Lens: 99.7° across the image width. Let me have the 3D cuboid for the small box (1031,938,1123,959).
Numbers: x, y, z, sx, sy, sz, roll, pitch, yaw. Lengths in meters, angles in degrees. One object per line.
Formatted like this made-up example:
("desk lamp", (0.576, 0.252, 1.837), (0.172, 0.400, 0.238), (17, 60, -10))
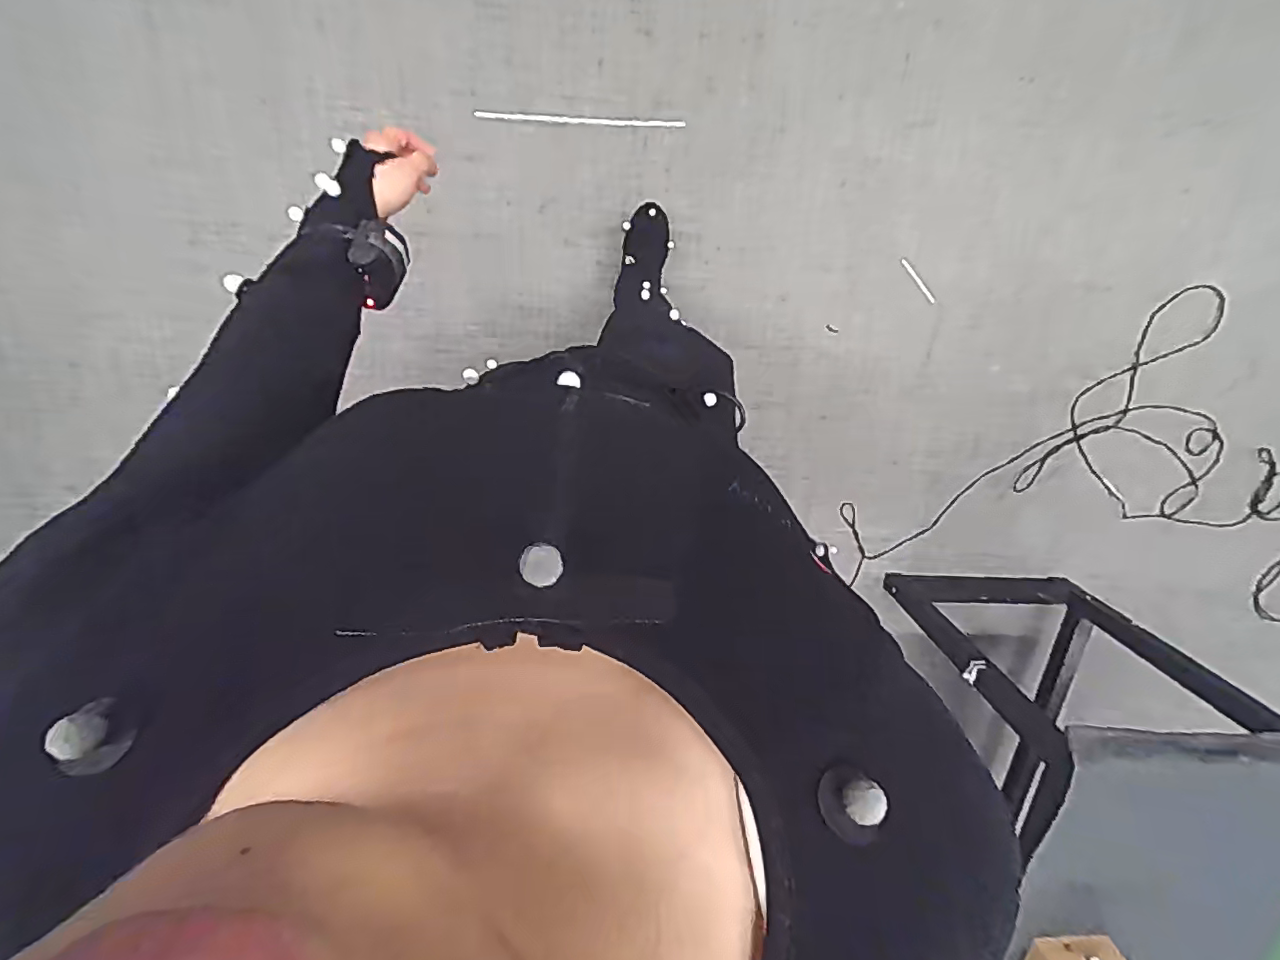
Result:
("small box", (0.875, 1.029, 1.036), (0.168, 0.176, 0.179), (2, 107, -5))
